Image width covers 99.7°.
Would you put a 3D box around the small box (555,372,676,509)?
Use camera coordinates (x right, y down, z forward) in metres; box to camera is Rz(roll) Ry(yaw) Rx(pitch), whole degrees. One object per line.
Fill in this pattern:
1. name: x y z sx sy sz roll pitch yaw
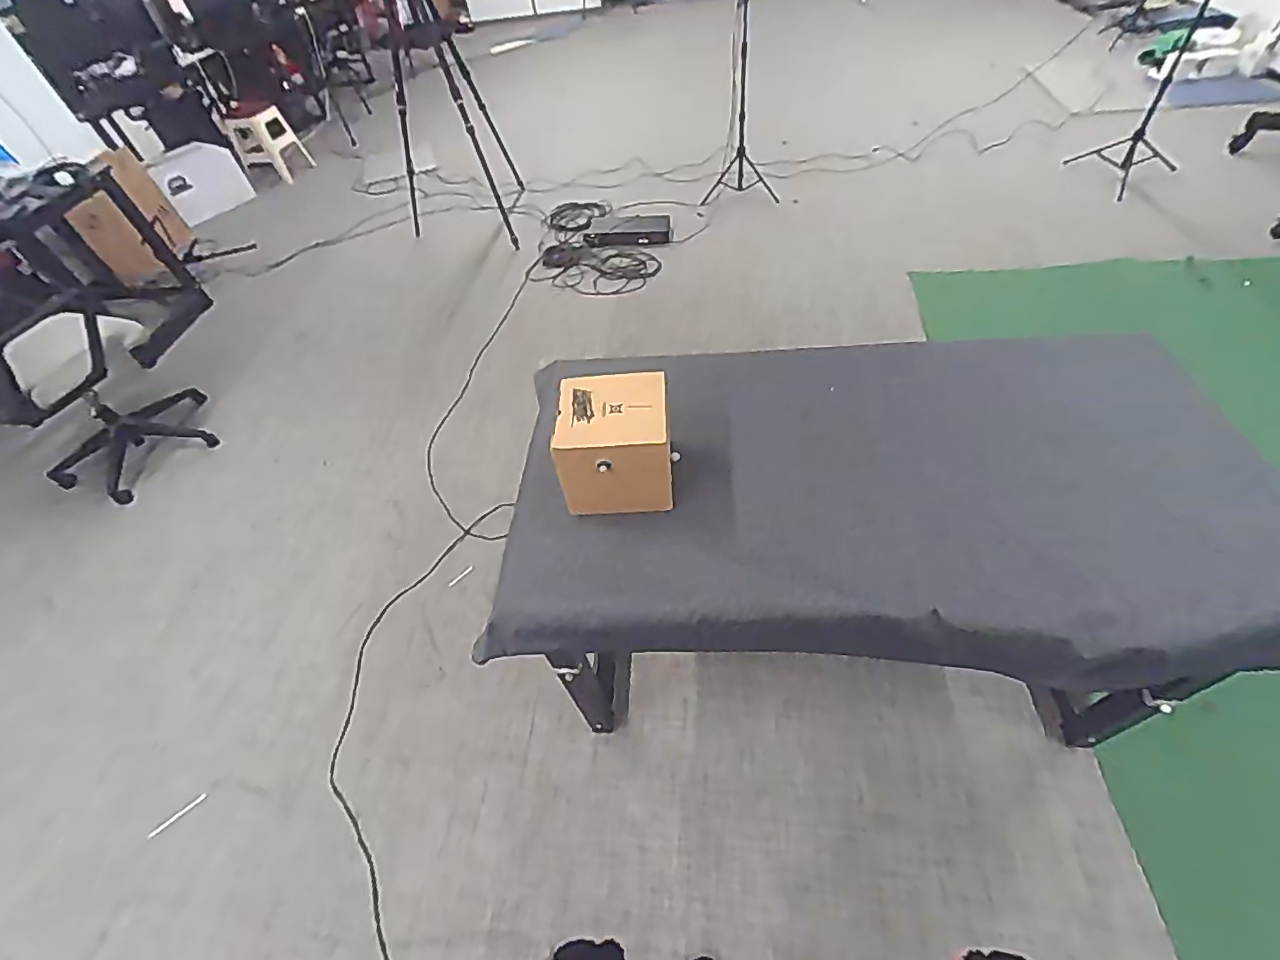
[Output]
1. small box: -0.033 -0.062 0.917 0.179 0.176 0.168 -3 50 4
